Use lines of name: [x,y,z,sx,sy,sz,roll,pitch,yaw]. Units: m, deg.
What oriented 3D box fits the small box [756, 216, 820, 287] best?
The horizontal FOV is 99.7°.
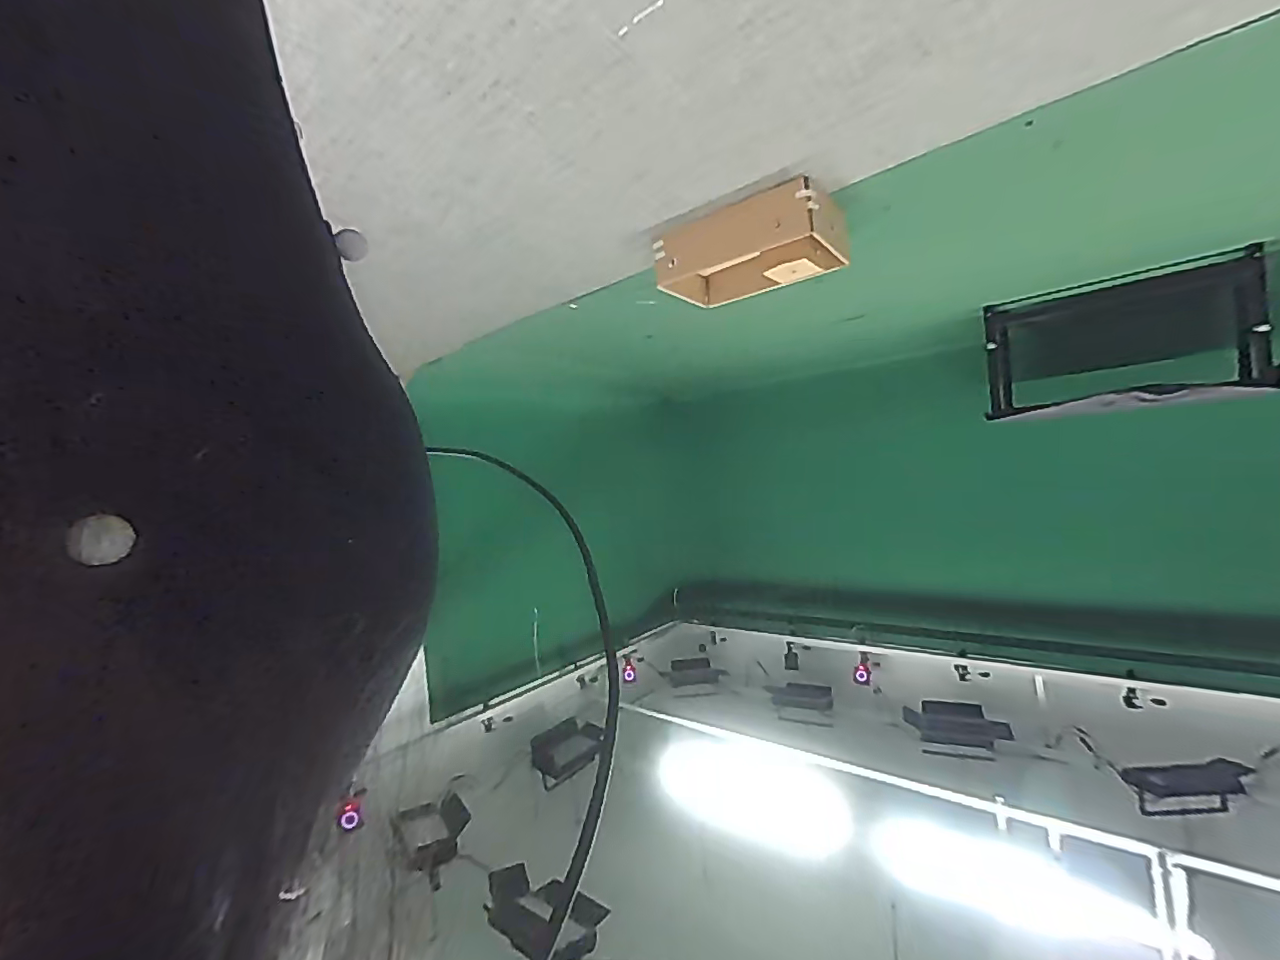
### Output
small box: [0.529,-0.815,1.932,0.168,0.176,0.179,-5,179,40]
